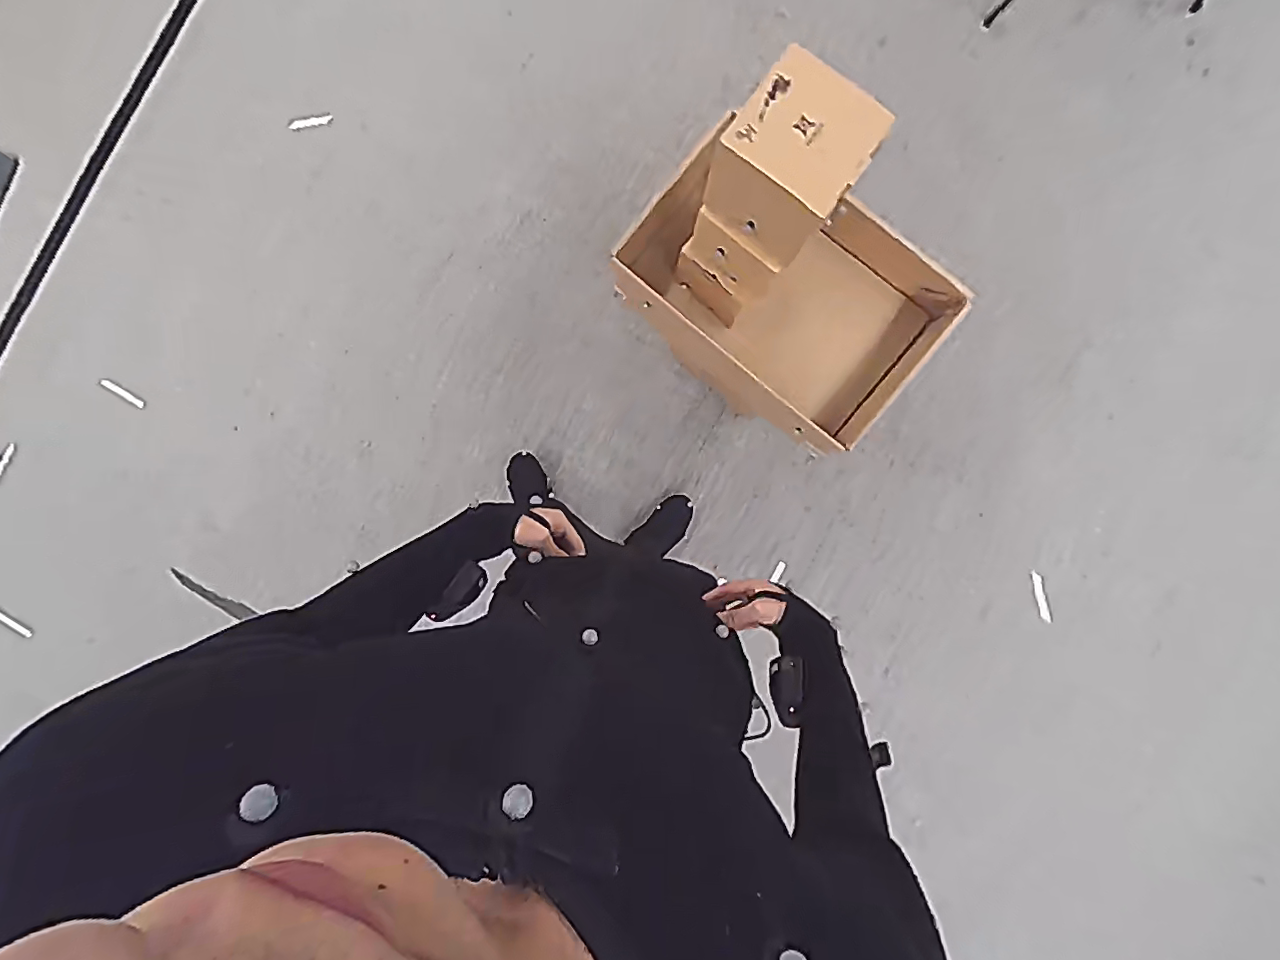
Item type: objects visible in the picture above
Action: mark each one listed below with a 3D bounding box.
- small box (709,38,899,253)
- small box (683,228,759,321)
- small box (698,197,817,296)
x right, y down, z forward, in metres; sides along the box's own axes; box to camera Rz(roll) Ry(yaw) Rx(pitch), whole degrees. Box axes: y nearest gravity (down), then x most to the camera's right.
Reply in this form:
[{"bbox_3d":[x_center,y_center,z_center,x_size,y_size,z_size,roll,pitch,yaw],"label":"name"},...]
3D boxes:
[{"bbox_3d":[0.222,-0.459,0.781,0.179,0.176,0.168,38,90,-1],"label":"small box"},{"bbox_3d":[0.202,-0.457,1.108,0.168,0.176,0.179,43,90,-1],"label":"small box"},{"bbox_3d":[0.216,-0.455,0.945,0.168,0.176,0.179,39,90,-1],"label":"small box"}]
